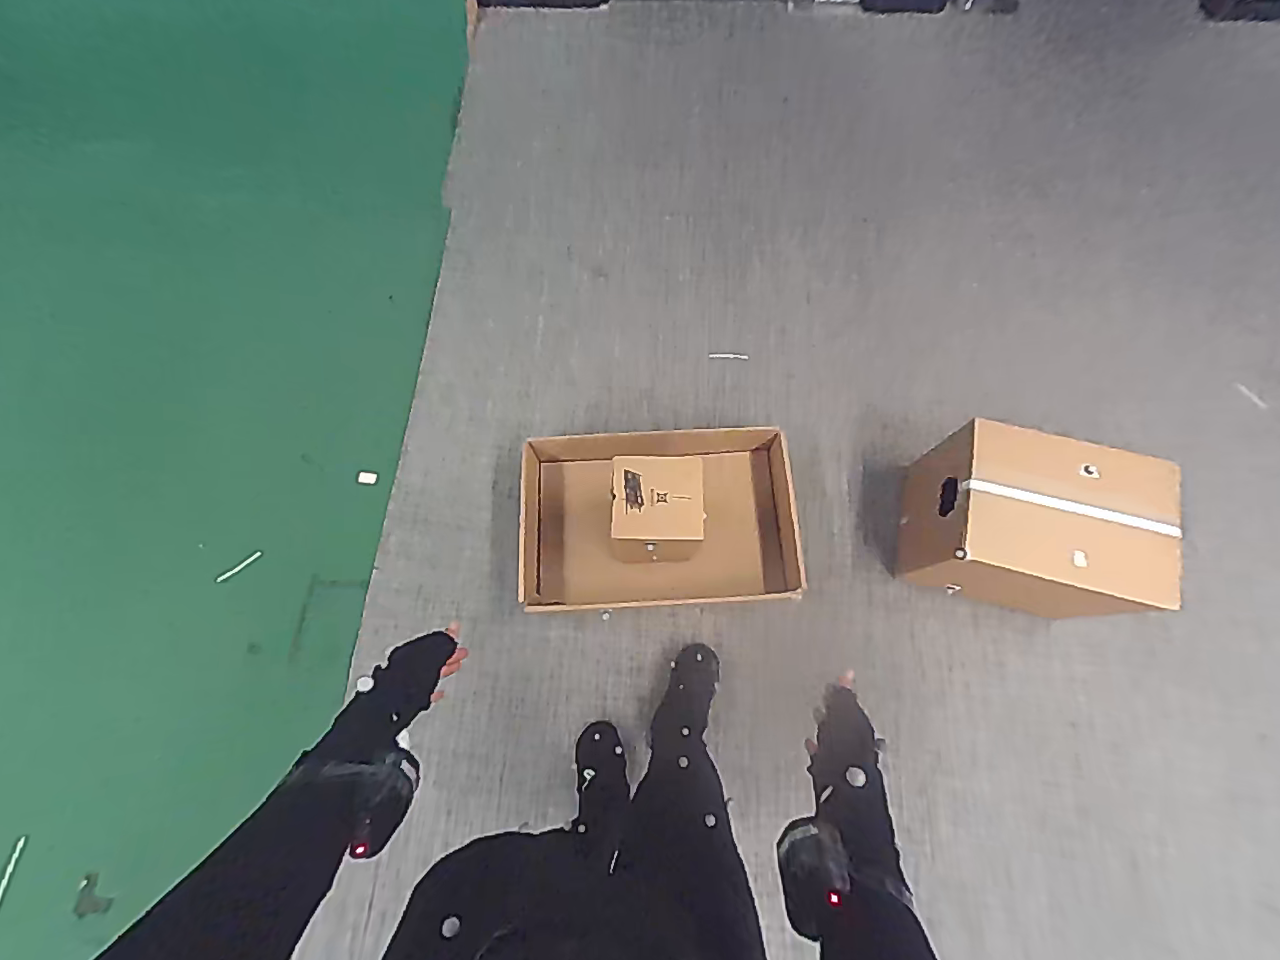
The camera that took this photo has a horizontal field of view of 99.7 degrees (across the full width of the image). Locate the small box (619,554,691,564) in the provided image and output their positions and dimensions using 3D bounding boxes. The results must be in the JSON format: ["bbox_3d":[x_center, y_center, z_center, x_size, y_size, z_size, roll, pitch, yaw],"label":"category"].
[{"bbox_3d":[0.036,0.103,1.266,0.179,0.176,0.168,-2,73,-1],"label":"small box"}]

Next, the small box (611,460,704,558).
[{"bbox_3d":[0.035,0.064,1.106,0.179,0.176,0.168,1,72,0],"label":"small box"}]
